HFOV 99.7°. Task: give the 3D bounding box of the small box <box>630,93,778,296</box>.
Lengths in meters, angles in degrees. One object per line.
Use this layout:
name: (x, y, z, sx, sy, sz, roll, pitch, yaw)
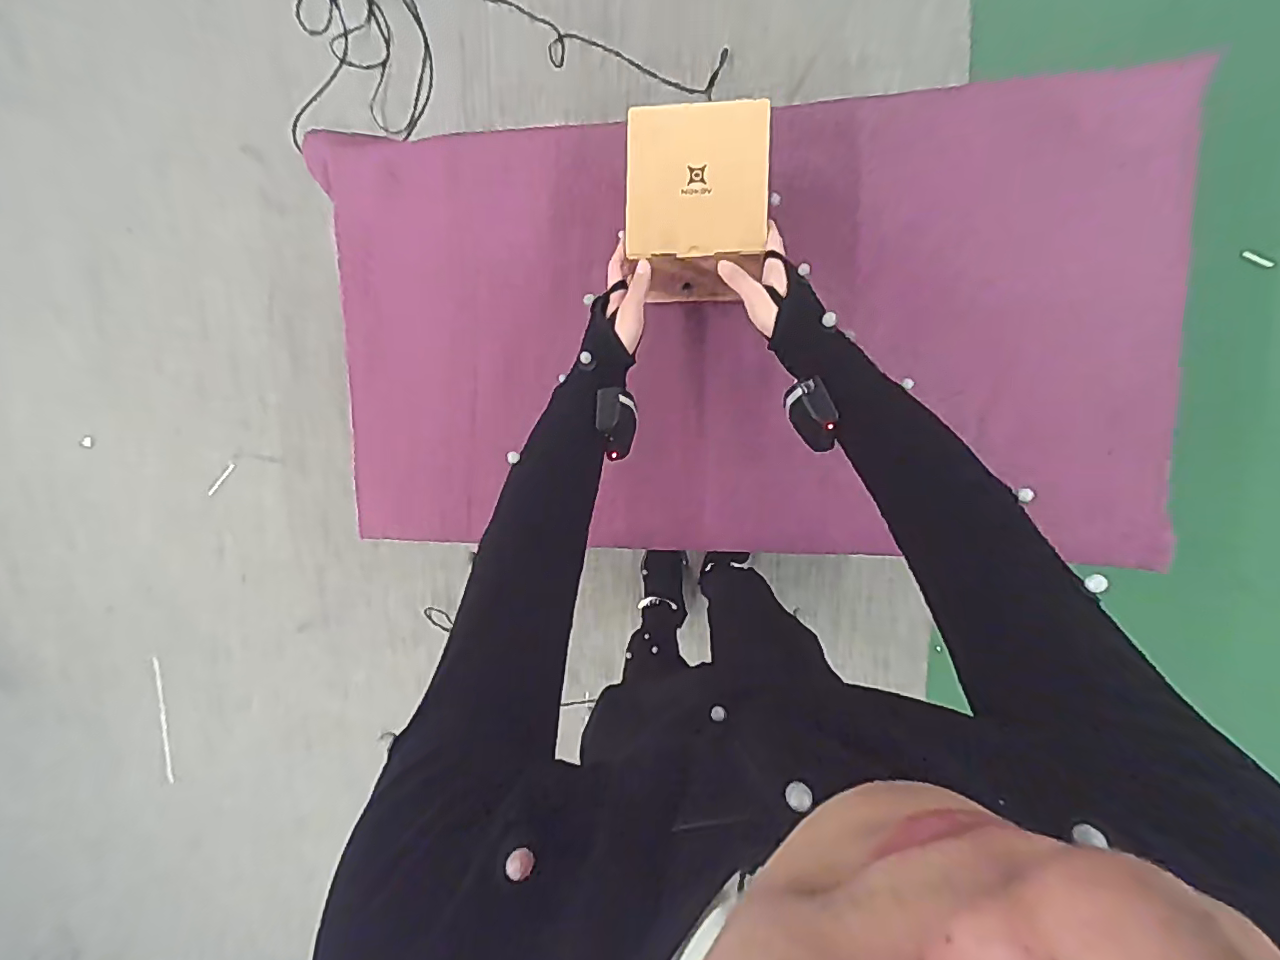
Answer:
small box: (0.079, -0.349, 0.691, 0.168, 0.176, 0.179, 1, 92, 7)
